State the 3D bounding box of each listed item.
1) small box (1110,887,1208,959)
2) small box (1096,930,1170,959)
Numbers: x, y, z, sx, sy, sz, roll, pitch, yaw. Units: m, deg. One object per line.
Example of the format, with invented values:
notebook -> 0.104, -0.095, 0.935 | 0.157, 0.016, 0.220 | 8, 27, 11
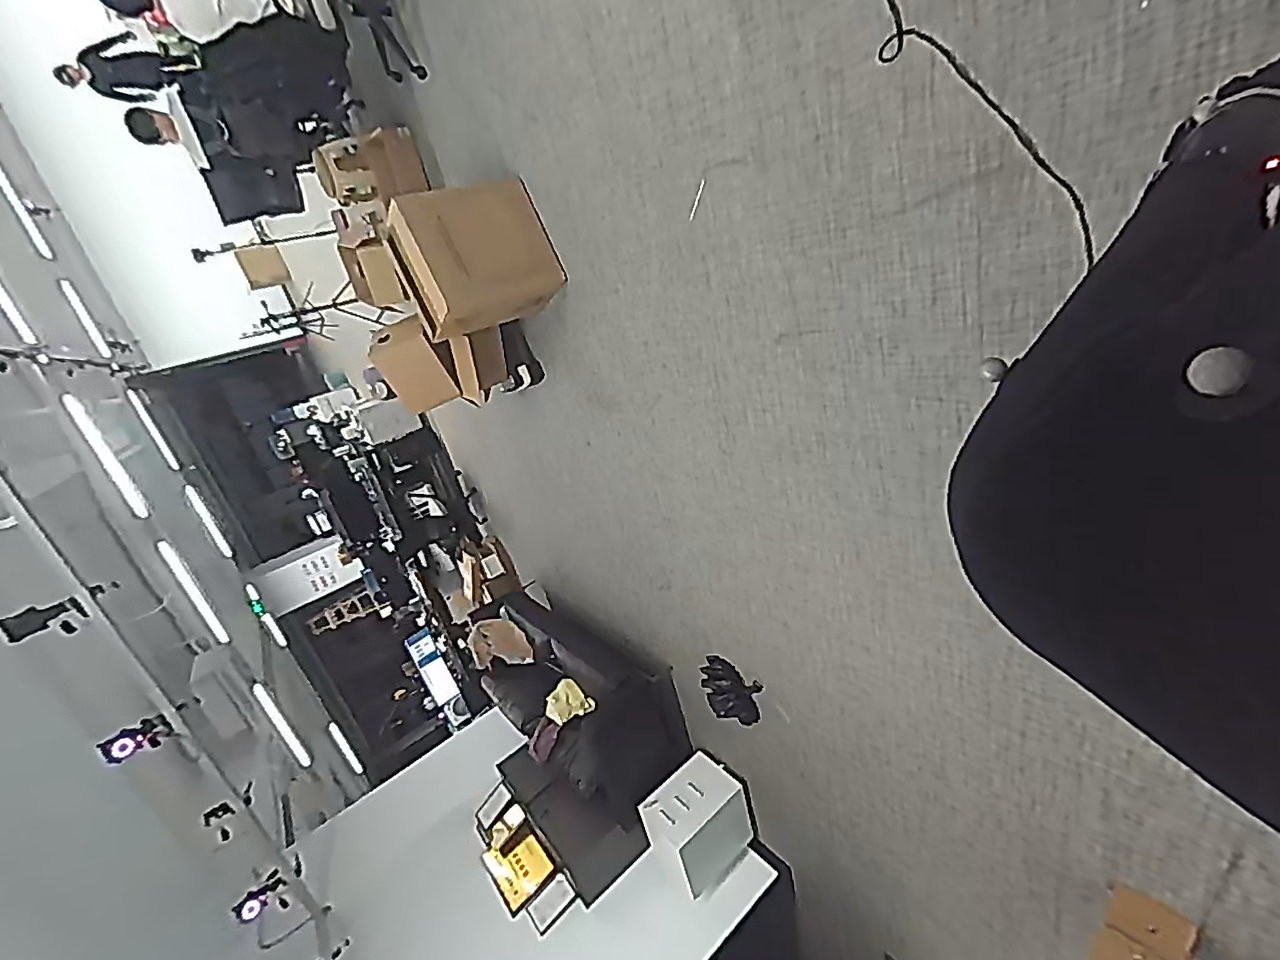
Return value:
small box -> 1.499, 1.338, 1.569 | 0.179, 0.176, 0.168 | 12, 124, 51
small box -> 1.373, 1.395, 1.484 | 0.179, 0.176, 0.168 | 16, 127, 52
